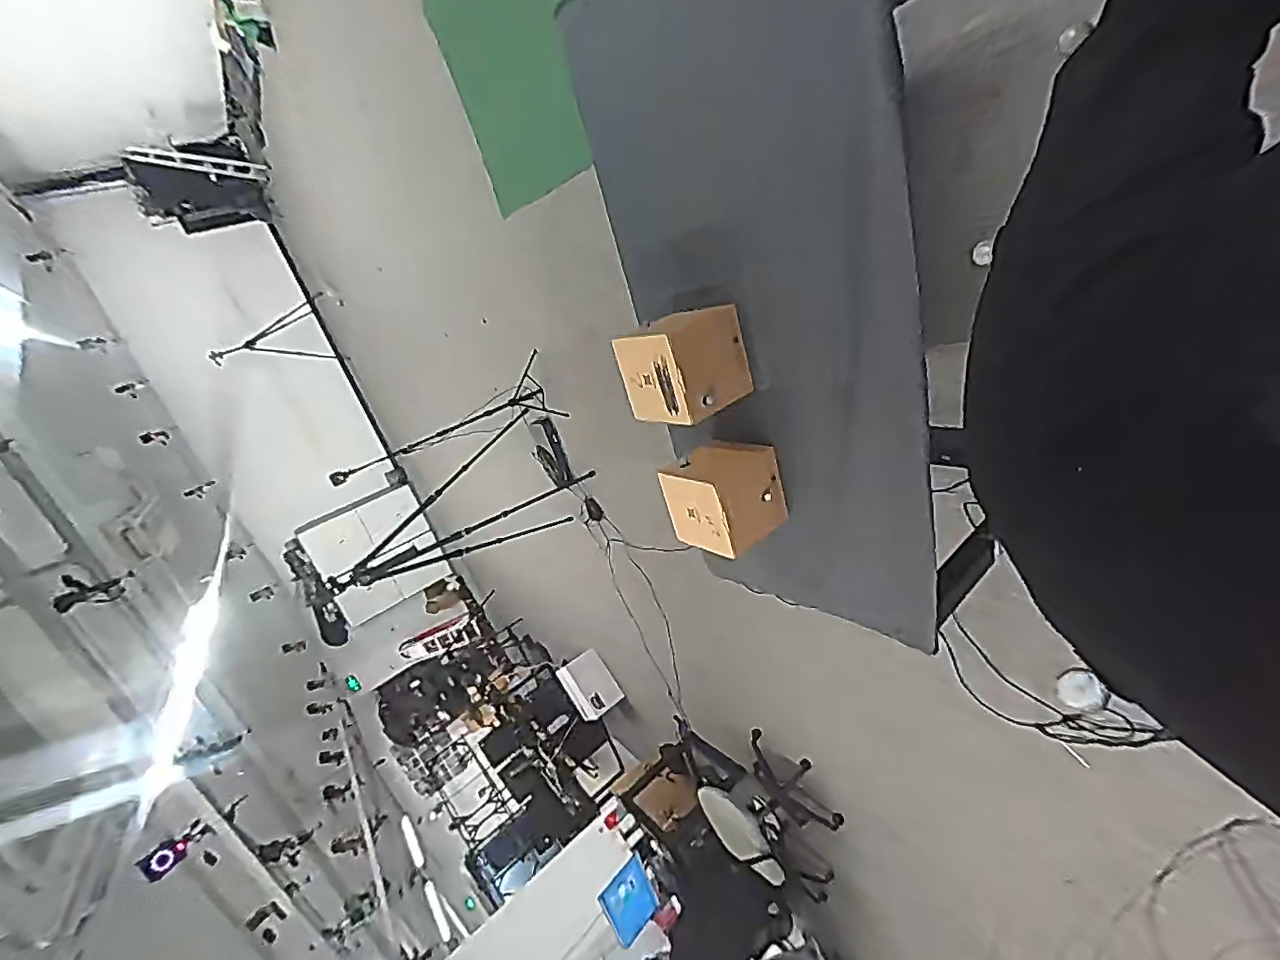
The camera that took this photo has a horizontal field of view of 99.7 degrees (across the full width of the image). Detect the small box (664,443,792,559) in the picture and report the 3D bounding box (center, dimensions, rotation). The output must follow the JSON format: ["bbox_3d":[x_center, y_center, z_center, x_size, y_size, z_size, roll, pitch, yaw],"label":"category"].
[{"bbox_3d":[0.182,0.033,1.110,0.179,0.176,0.168,12,127,53],"label":"small box"}]
